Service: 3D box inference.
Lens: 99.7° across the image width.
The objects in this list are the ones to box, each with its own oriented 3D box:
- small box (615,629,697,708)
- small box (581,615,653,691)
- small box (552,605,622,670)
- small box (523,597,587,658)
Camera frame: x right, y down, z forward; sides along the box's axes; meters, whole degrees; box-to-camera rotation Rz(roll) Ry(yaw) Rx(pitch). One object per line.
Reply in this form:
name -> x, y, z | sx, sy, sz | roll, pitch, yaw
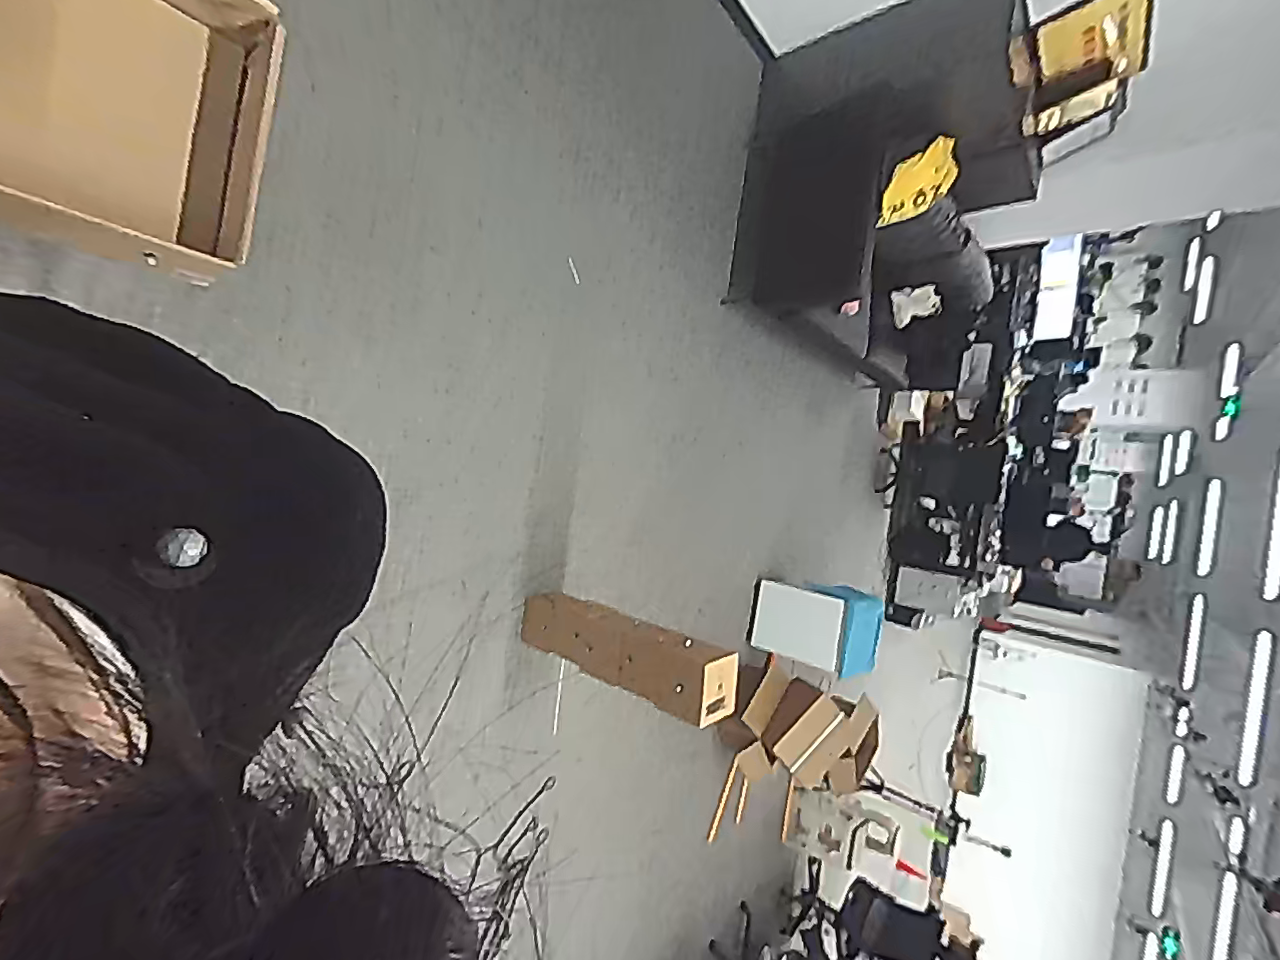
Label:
small box -> 0.047, 0.563, 1.642 | 0.179, 0.176, 0.168 | 4, 91, -48
small box -> -0.073, 0.554, 1.751 | 0.168, 0.176, 0.179 | 4, 92, -49
small box -> -0.185, 0.536, 1.869 | 0.168, 0.176, 0.179 | 7, 90, -48
small box -> -0.310, 0.531, 1.976 | 0.168, 0.176, 0.179 | 7, 90, -49
